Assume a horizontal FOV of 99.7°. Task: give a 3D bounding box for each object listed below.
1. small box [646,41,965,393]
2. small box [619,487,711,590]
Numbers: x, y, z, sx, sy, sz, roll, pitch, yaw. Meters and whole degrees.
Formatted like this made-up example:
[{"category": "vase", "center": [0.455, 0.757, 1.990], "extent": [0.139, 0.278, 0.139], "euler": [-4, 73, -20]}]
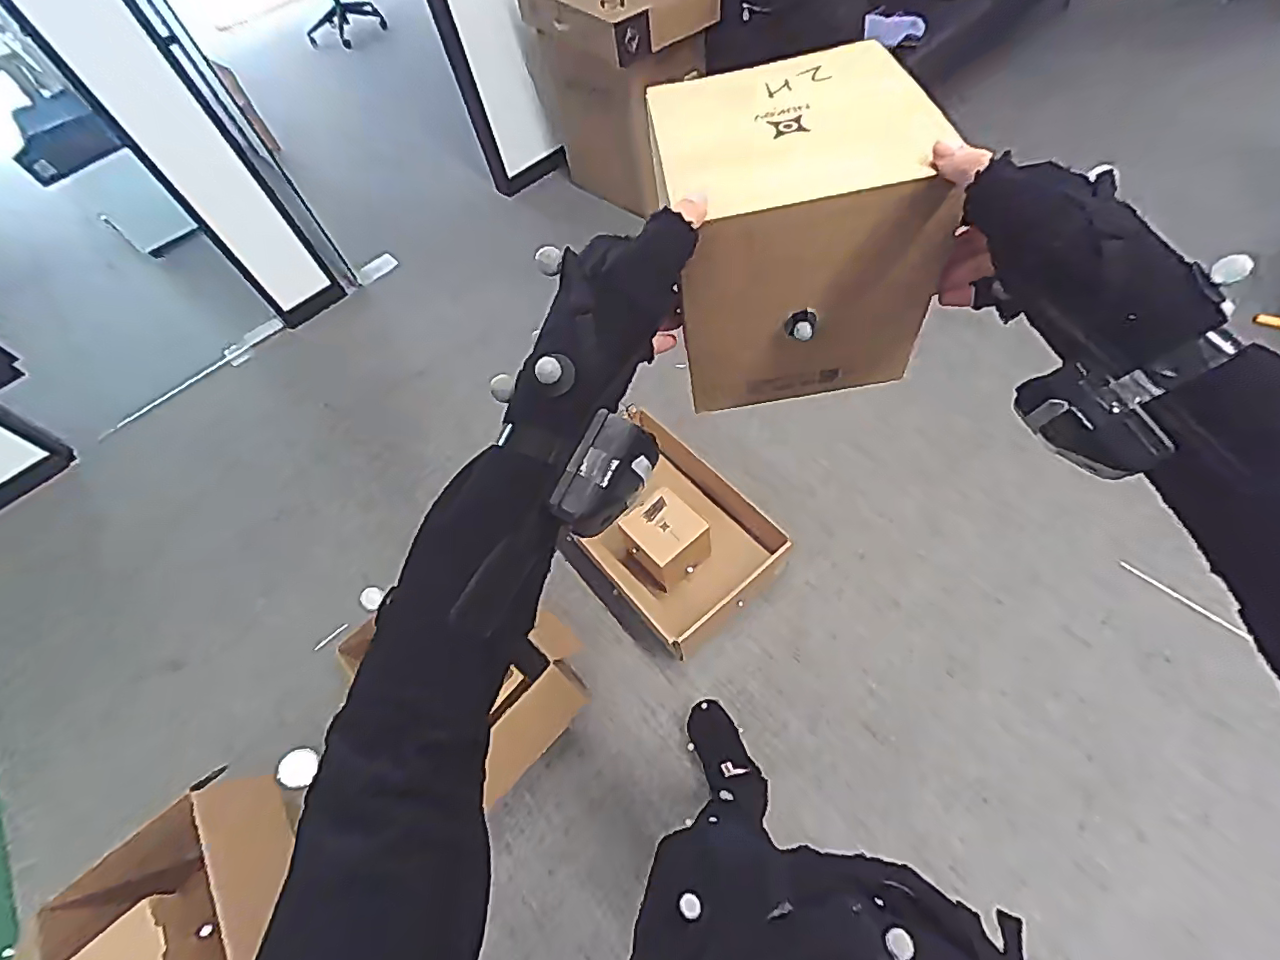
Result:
[{"category": "small box", "center": [0.104, -0.183, 0.411], "extent": [0.168, 0.176, 0.179], "euler": [-9, 56, 5]}, {"category": "small box", "center": [0.070, 0.158, 1.429], "extent": [0.168, 0.176, 0.179], "euler": [-38, 59, -16]}]
